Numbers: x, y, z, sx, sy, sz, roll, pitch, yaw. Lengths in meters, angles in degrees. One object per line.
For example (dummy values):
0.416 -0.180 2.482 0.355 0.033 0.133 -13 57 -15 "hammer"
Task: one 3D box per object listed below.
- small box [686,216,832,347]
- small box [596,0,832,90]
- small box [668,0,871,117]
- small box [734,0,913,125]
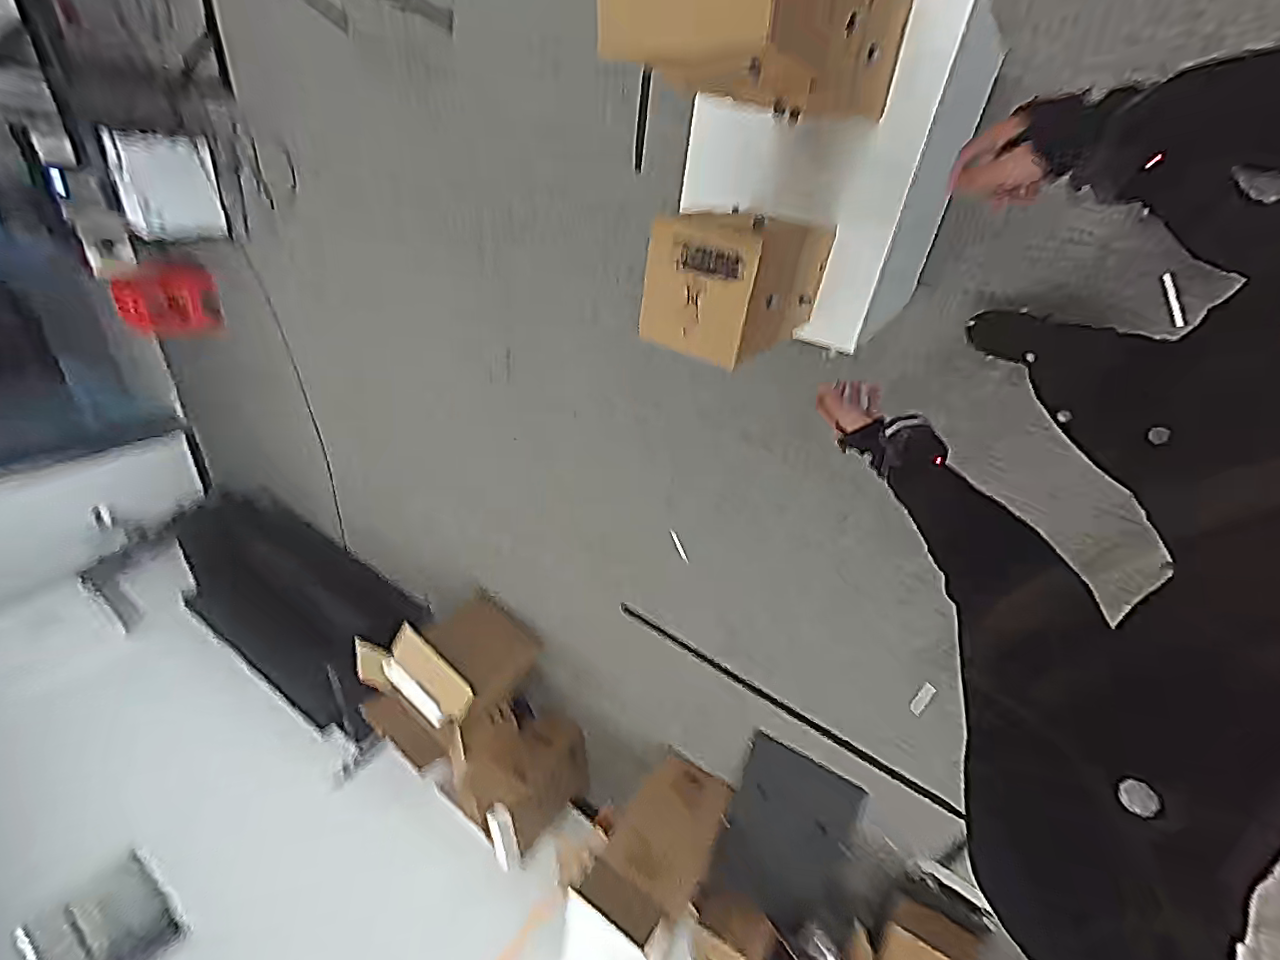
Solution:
0.204 -0.347 0.922 0.179 0.176 0.168 26 127 24 "small box"
0.077 -0.470 0.497 0.179 0.176 0.168 20 124 28 "small box"
0.156 -0.529 0.627 0.179 0.176 0.168 24 127 25 "small box"
0.248 -0.597 0.746 0.179 0.176 0.168 23 128 26 "small box"
